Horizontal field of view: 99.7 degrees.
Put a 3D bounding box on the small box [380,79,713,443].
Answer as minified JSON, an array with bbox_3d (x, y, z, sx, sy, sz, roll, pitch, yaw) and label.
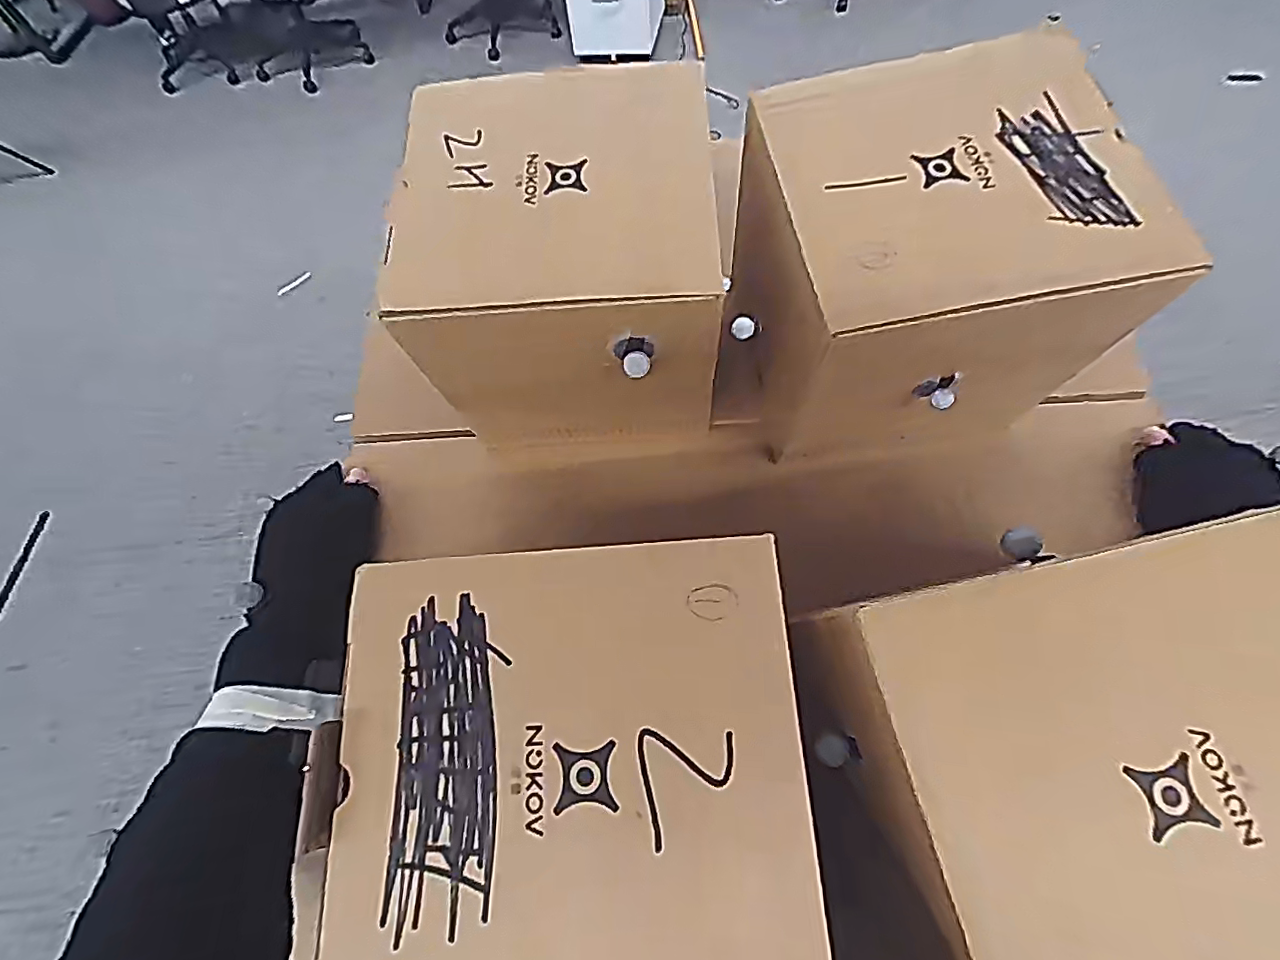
[{"bbox_3d":[-0.044,-0.133,0.378,0.179,0.176,0.168,-2,70,5],"label":"small box"}]
